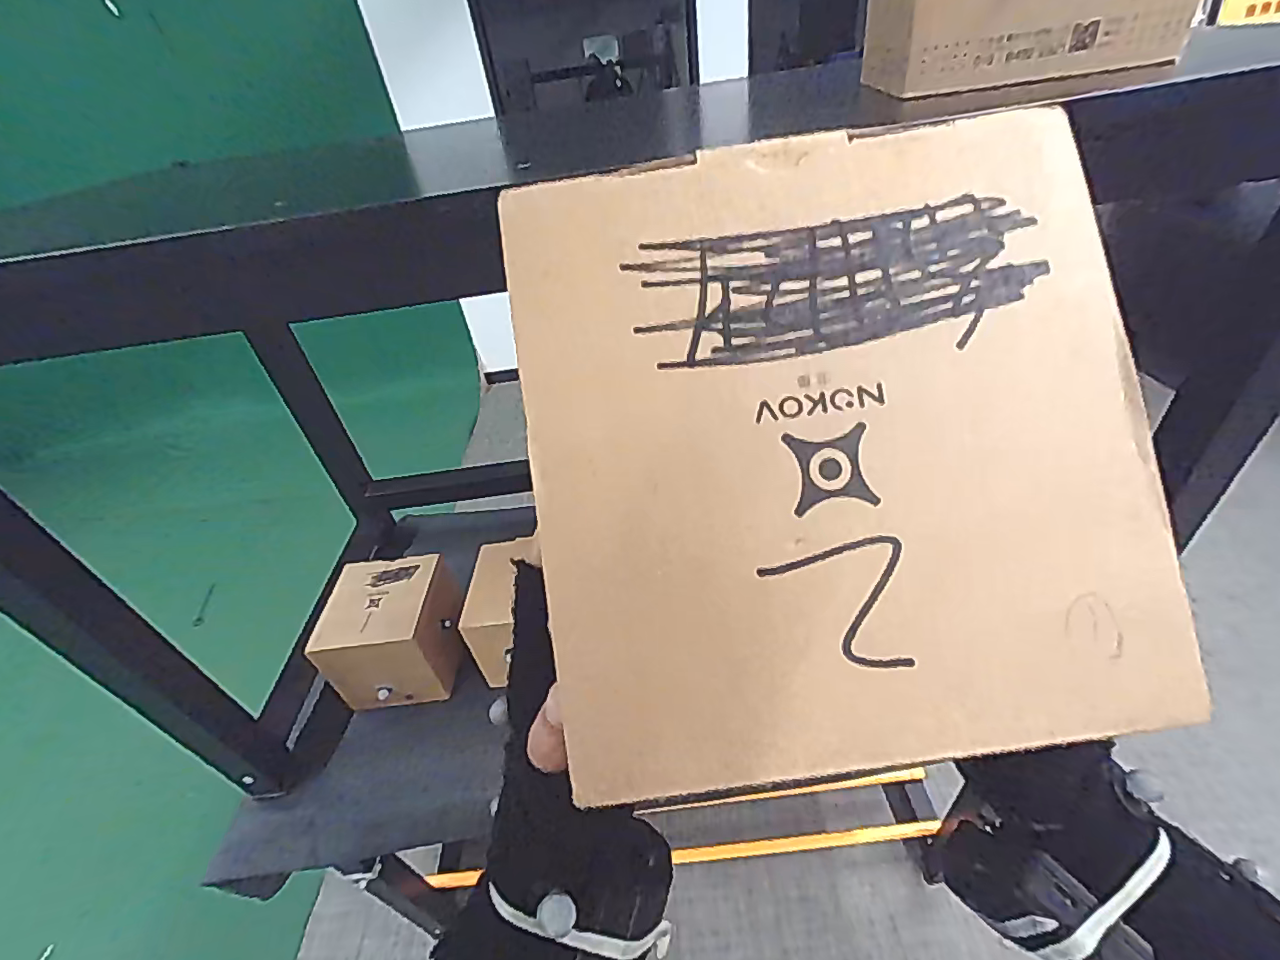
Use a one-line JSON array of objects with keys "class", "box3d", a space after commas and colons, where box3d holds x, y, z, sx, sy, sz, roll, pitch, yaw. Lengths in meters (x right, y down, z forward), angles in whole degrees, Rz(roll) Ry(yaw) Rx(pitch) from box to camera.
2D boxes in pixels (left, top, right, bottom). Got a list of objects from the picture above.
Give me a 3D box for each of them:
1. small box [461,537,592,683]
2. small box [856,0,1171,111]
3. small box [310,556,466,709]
[{"class": "small box", "box3d": [-0.177, 0.222, 0.908, 0.168, 0.176, 0.179, -7, 37, 3]}, {"class": "small box", "box3d": [0.262, -0.378, 0.389, 0.168, 0.176, 0.179, 0, 38, 11]}, {"class": "small box", "box3d": [-0.402, 0.254, 0.907, 0.168, 0.176, 0.179, -7, 38, 2]}]
